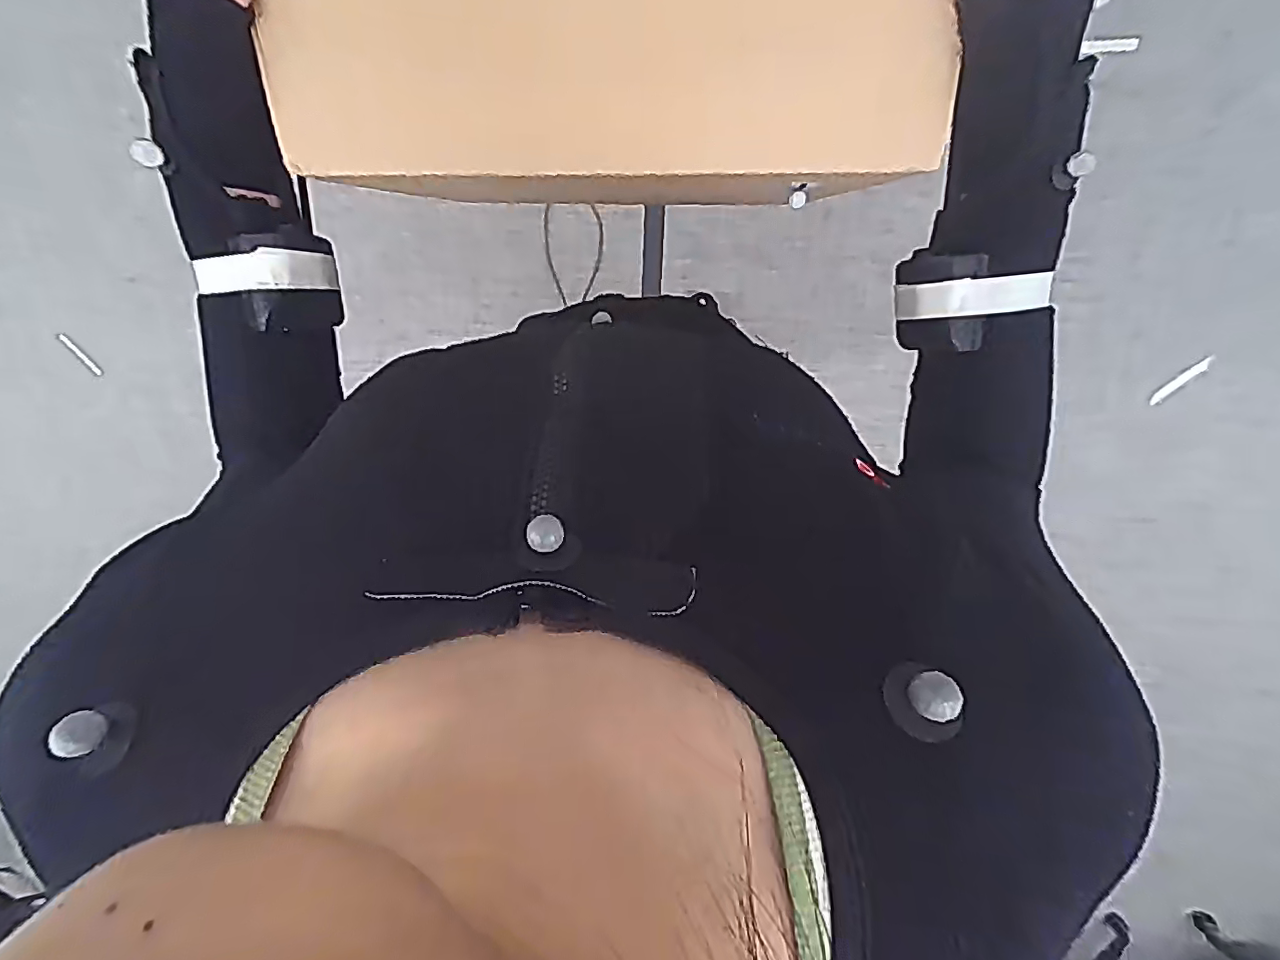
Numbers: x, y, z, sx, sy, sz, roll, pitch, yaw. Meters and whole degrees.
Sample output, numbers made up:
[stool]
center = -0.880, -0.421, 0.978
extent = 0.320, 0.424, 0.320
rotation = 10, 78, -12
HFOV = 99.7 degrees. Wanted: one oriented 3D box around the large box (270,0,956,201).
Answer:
[large box]
center = -0.012, -0.398, 0.420
extent = 0.408, 0.320, 0.320
rotation = 1, 114, 2
